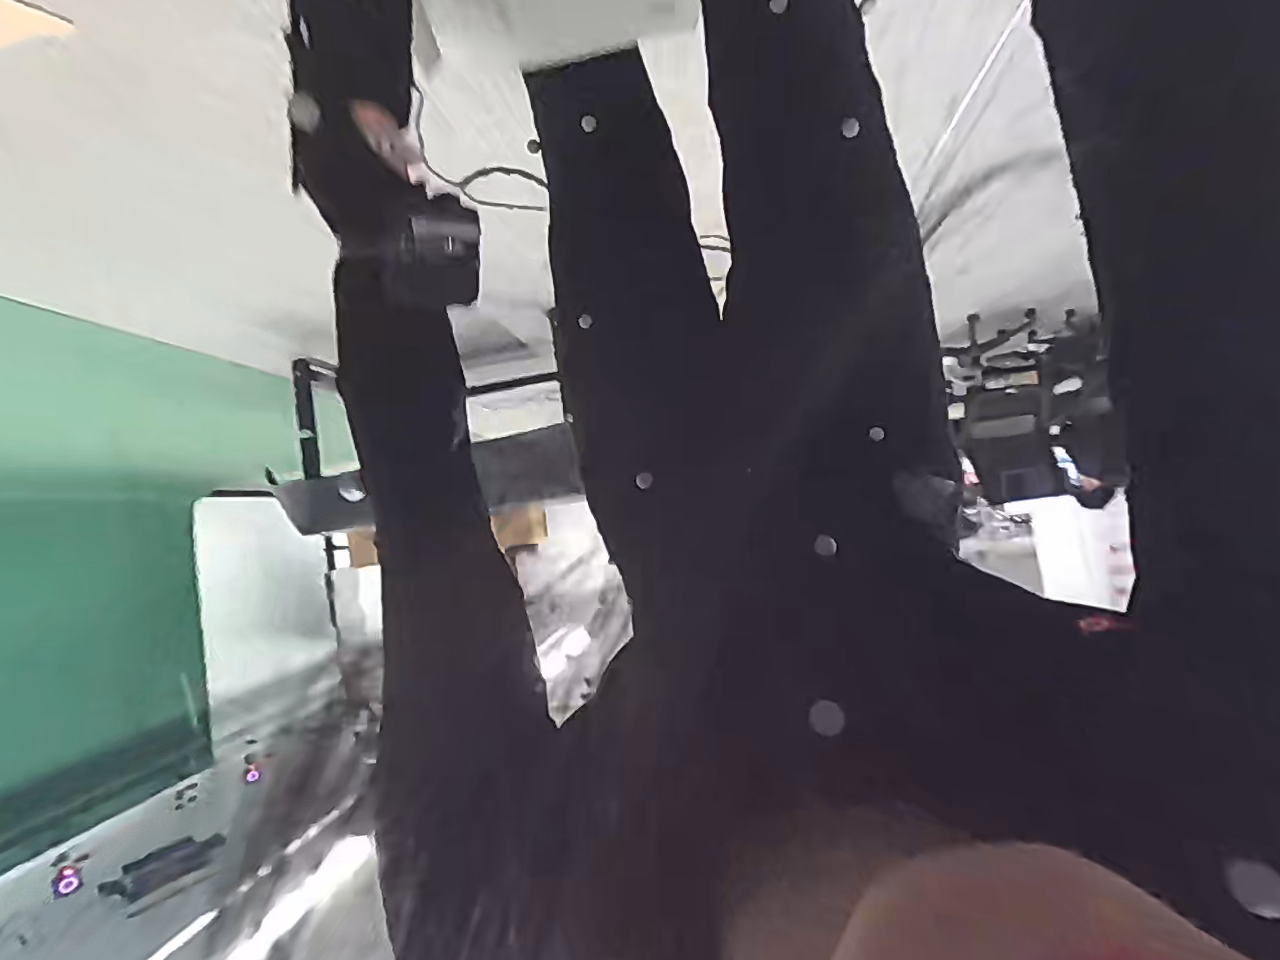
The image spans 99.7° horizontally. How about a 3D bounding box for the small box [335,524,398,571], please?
[{"bbox_3d":[-1.135,0.277,2.249,0.168,0.176,0.179,-9,177,4],"label":"small box"}]
